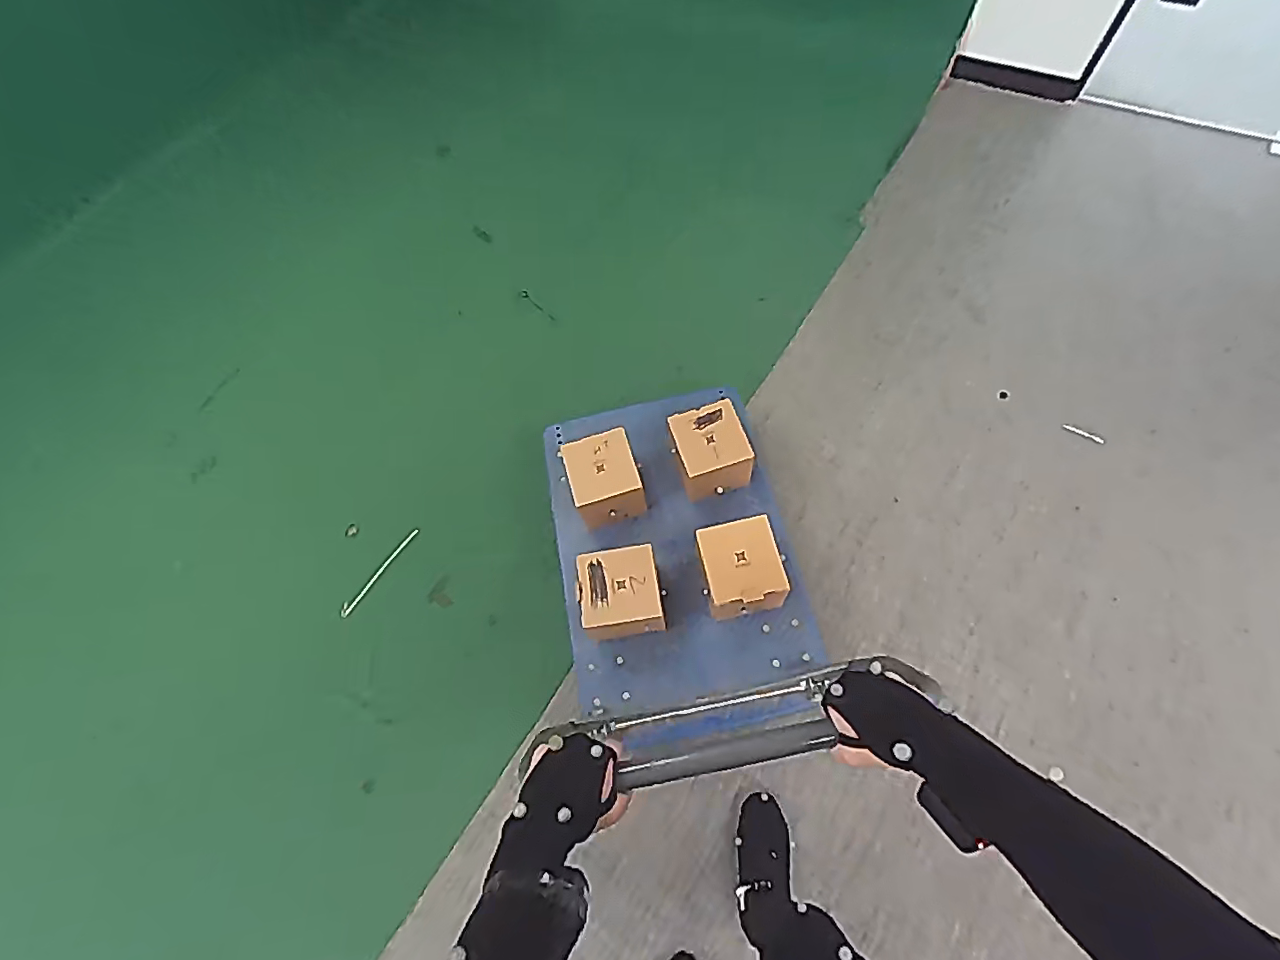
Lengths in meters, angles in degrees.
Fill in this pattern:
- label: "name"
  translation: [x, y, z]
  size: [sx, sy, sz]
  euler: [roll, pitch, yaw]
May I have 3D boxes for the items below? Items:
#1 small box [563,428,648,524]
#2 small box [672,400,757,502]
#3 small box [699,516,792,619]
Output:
- label: "small box"
  translation: [-0.082, -0.001, 1.371]
  size: [0.168, 0.176, 0.179]
  euler: [-16, 65, -2]
- label: "small box"
  translation: [0.183, -0.069, 1.373]
  size: [0.168, 0.176, 0.179]
  euler: [-17, 66, -1]
- label: "small box"
  translation: [0.233, 0.206, 1.246]
  size: [0.168, 0.176, 0.179]
  euler: [-13, 66, 0]
